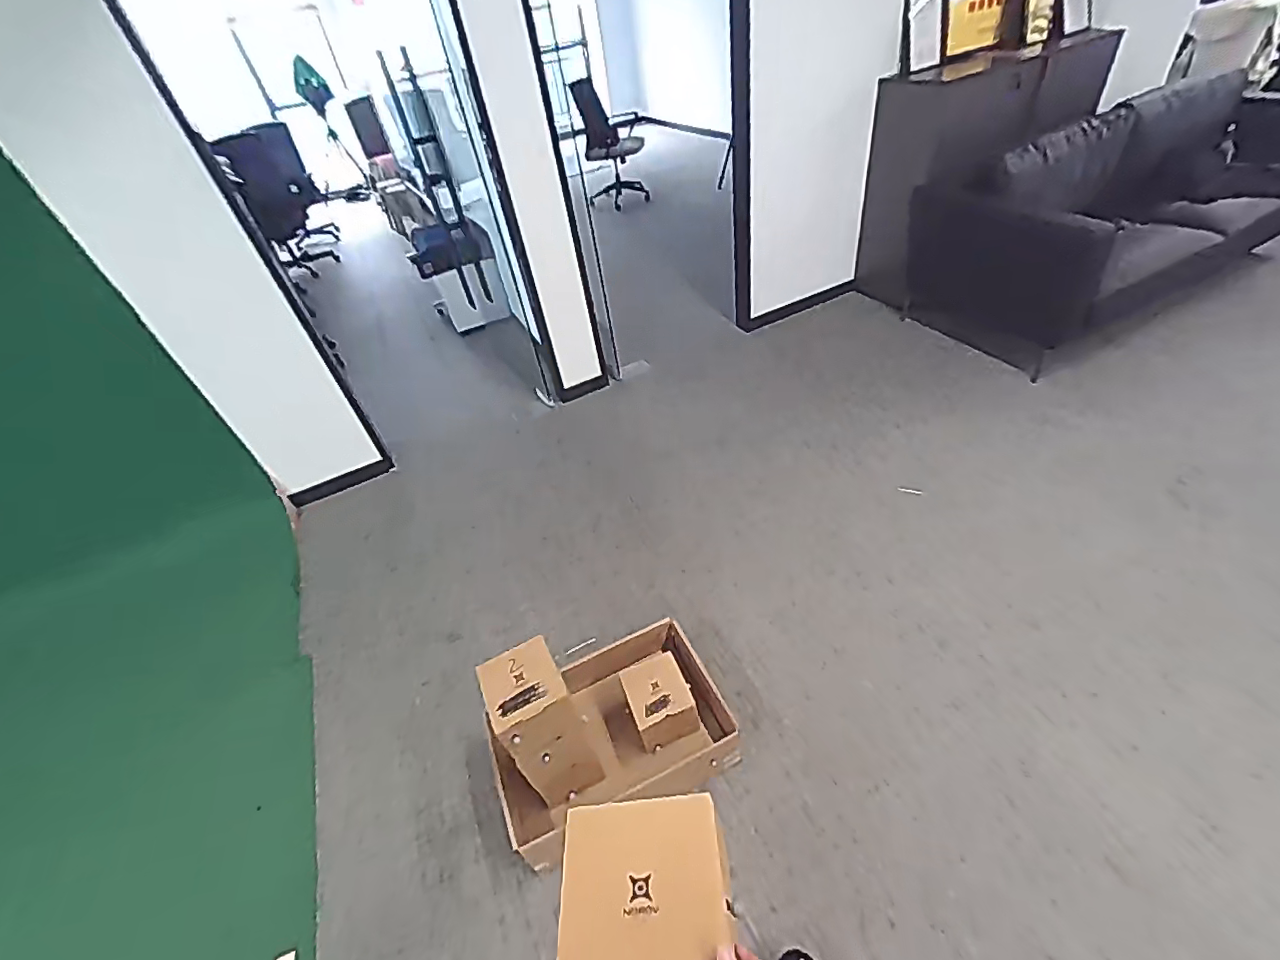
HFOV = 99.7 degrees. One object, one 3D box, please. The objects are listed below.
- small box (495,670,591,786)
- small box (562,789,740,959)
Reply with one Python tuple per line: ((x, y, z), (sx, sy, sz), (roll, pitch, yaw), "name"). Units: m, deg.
((-0.238, 0.617, 1.344), (0.168, 0.176, 0.179), (-25, 44, -14), "small box")
((0.018, 0.470, 0.588), (0.168, 0.176, 0.179), (-9, 38, 4), "small box")
